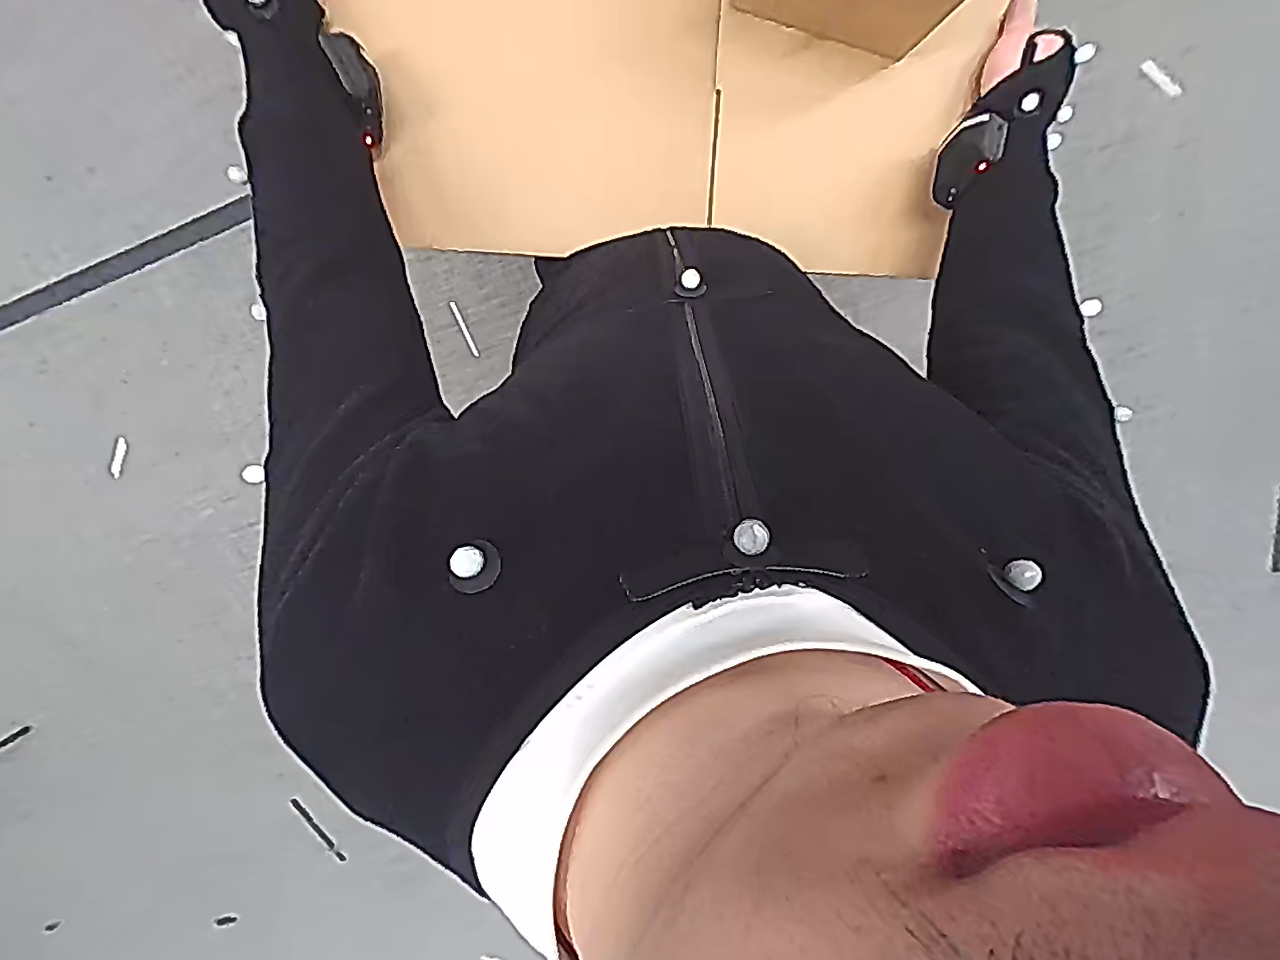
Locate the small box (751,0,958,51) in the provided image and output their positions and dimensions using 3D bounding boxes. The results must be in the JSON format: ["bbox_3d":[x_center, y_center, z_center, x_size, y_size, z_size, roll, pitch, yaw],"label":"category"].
[{"bbox_3d":[0.197,-0.477,0.414,0.179,0.176,0.168,13,105,-6],"label":"small box"}]
